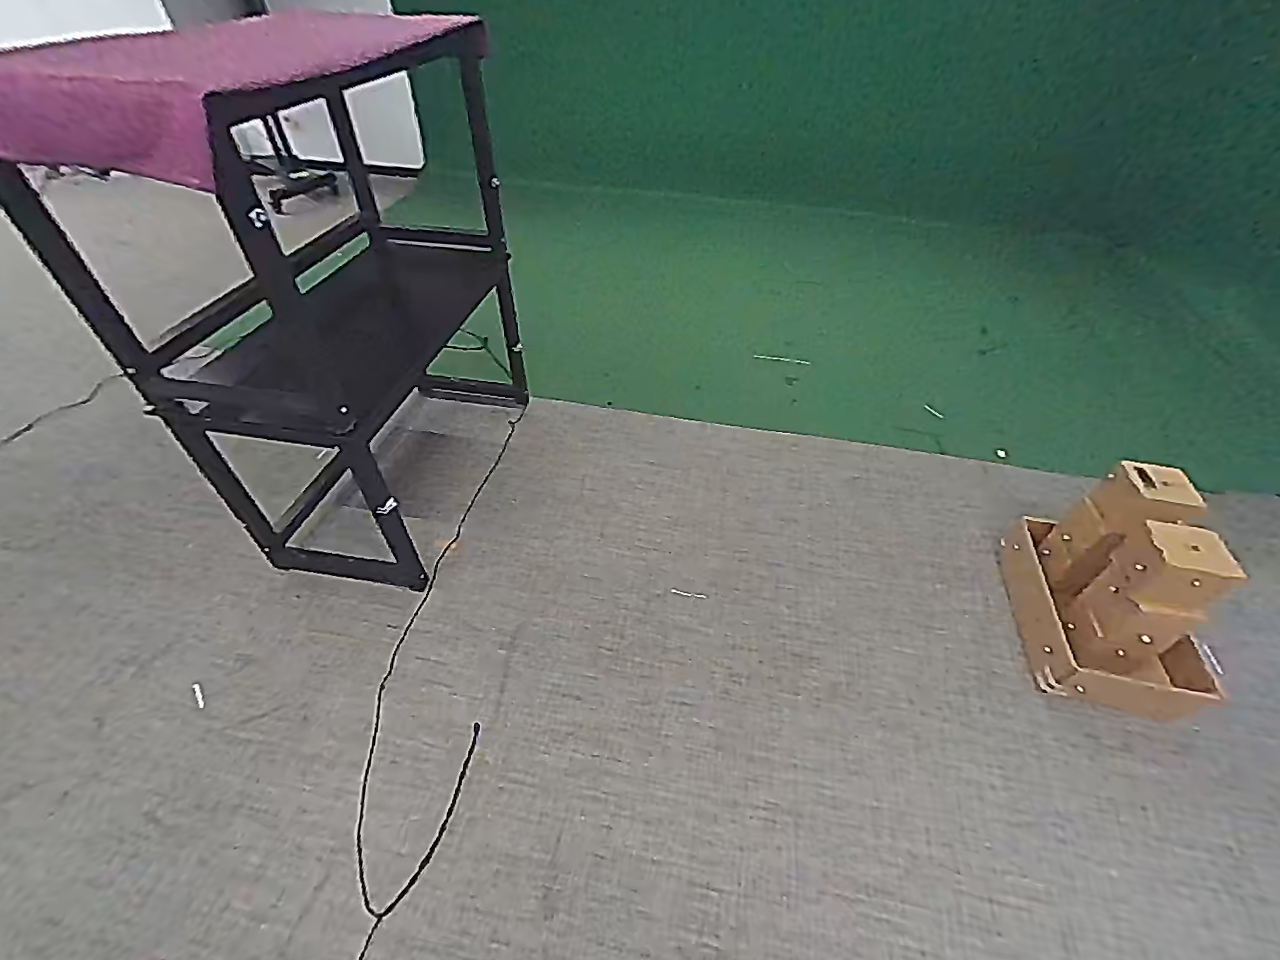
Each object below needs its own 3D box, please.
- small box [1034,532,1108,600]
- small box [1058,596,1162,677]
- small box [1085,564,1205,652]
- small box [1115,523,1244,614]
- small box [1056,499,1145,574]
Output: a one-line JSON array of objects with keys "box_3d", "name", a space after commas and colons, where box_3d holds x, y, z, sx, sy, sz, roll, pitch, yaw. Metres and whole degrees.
[{"box_3d": [1.530, 0.310, 1.903, 0.179, 0.176, 0.168, 9, 45, 8], "name": "small box"}, {"box_3d": [1.466, 0.498, 1.707, 0.179, 0.176, 0.168, 11, 45, 9], "name": "small box"}, {"box_3d": [1.470, 0.378, 1.593, 0.168, 0.176, 0.179, 8, 44, 7], "name": "small box"}, {"box_3d": [1.469, 0.248, 1.494, 0.179, 0.176, 0.168, 12, 45, 10], "name": "small box"}, {"box_3d": [1.530, 0.192, 1.787, 0.168, 0.176, 0.179, 10, 46, 7], "name": "small box"}]
